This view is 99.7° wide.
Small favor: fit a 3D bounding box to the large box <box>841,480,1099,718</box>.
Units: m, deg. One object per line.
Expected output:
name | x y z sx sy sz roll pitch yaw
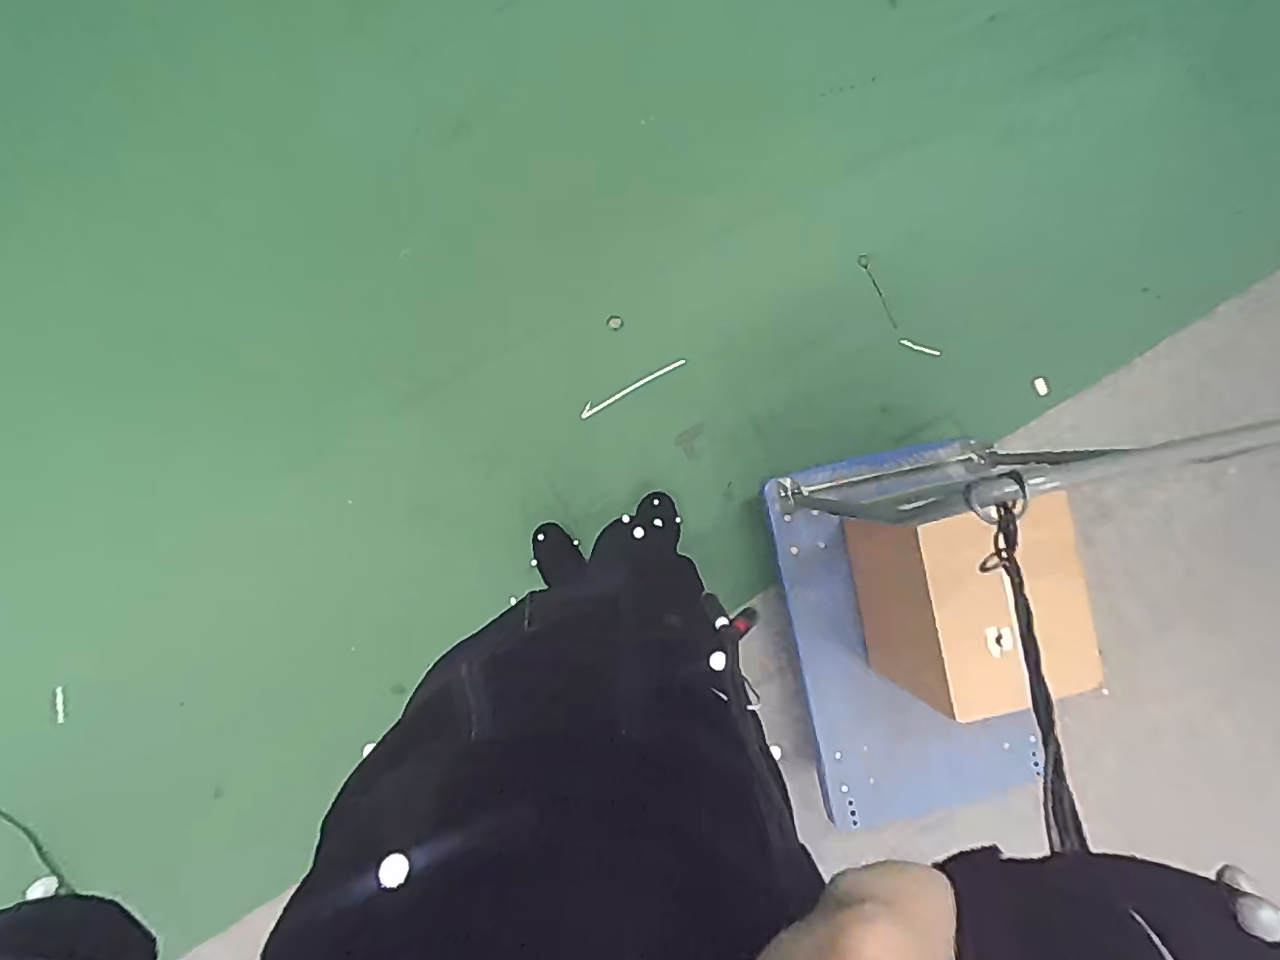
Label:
large box | 0.682 0.226 1.172 0.320 0.320 0.408 -11 90 -5
